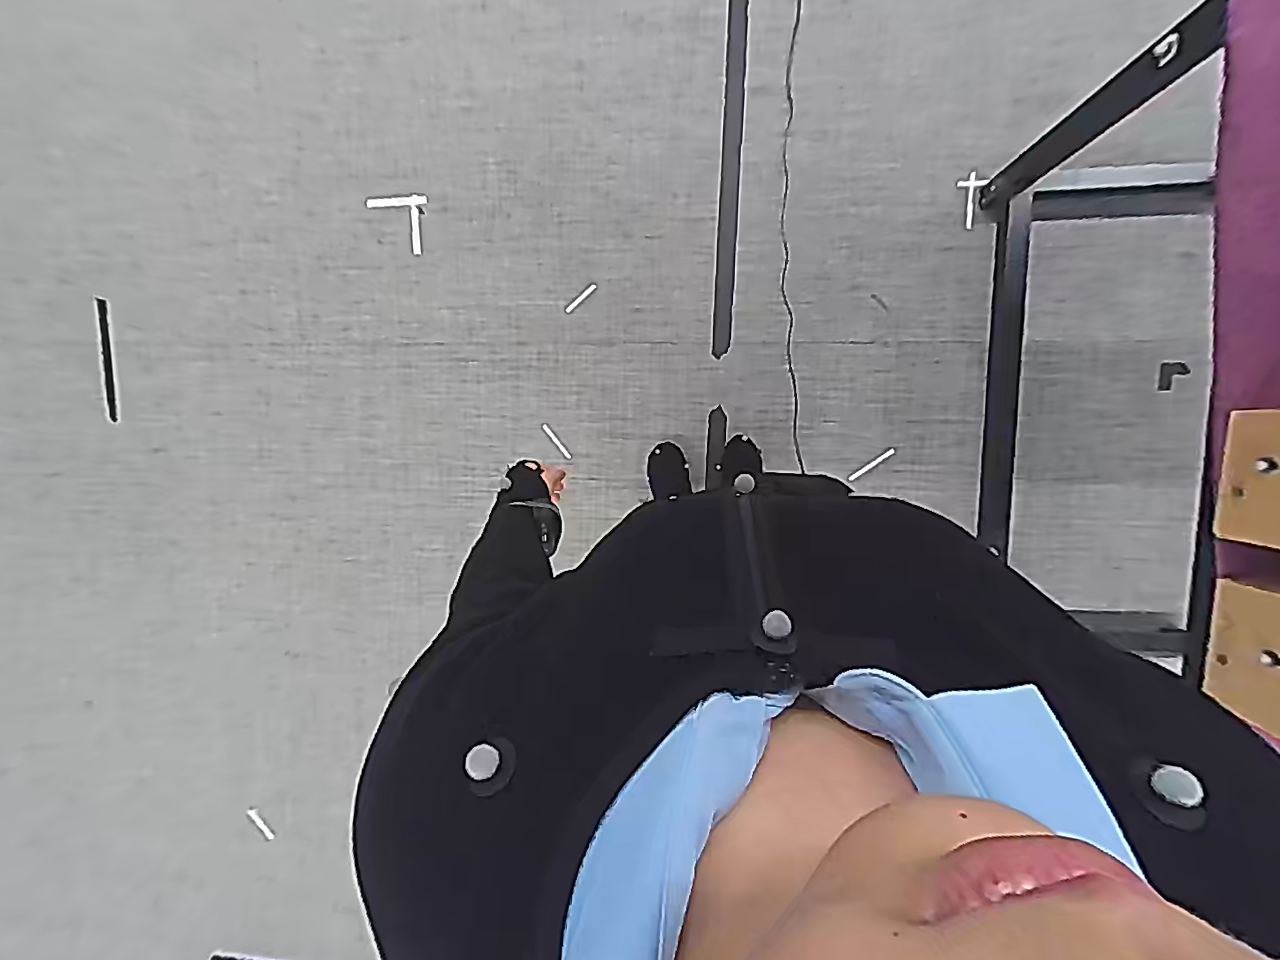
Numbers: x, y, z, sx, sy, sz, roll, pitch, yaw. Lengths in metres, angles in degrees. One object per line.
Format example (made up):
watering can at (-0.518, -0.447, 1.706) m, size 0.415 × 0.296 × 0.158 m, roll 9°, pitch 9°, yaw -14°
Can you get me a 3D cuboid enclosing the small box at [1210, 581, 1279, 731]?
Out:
small box at (0.831, 0.220, 0.624) m, size 0.179 × 0.176 × 0.168 m, roll 2°, pitch 96°, yaw 5°
